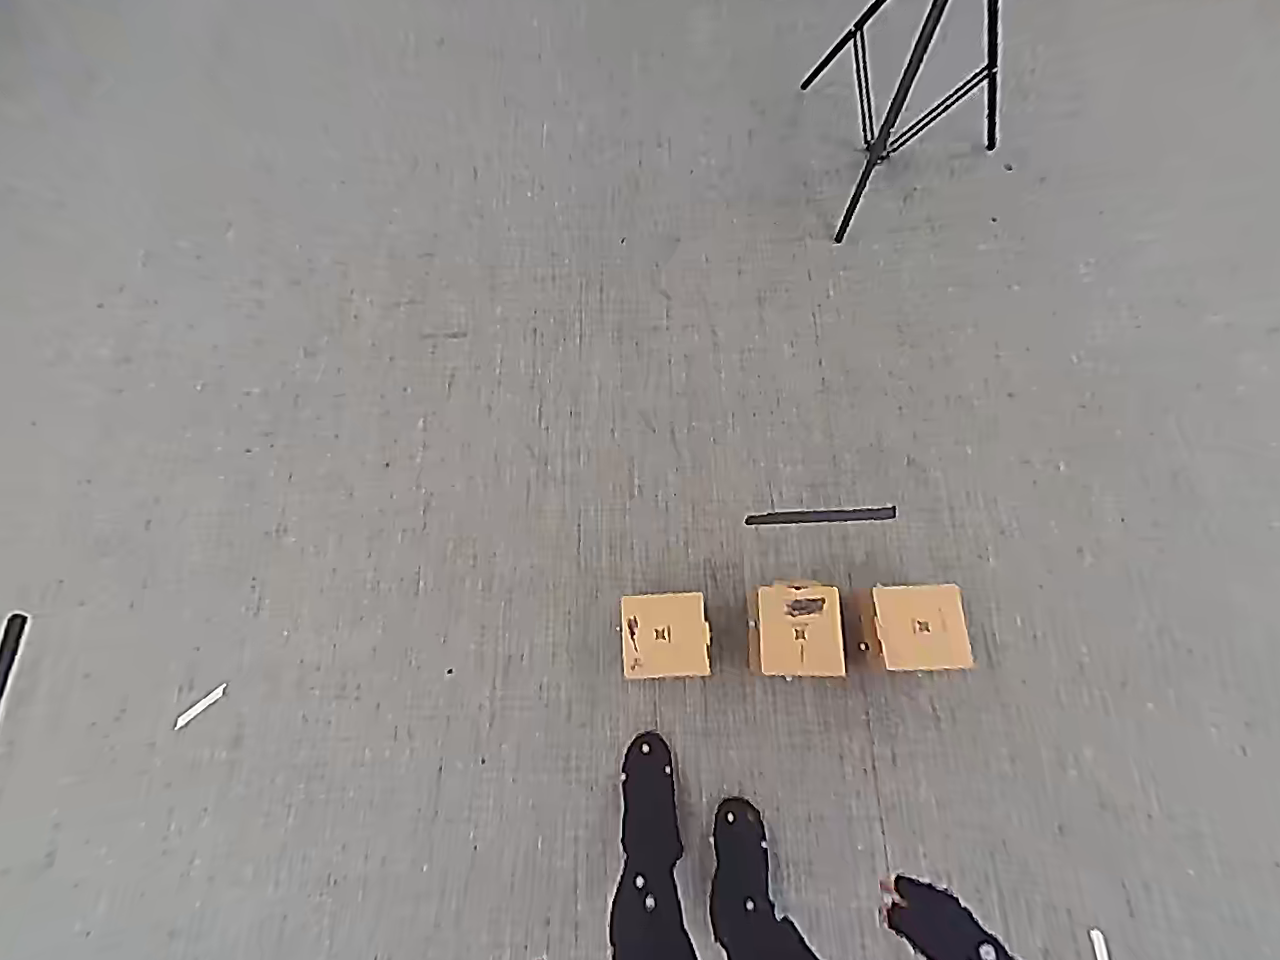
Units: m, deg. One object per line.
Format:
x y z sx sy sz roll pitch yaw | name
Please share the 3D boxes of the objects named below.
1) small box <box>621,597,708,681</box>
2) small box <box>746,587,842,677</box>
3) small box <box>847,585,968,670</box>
0.051 0.346 1.184 0.179 0.176 0.168 -3 73 2 | small box
0.324 0.330 1.173 0.168 0.176 0.179 0 74 3 | small box
0.562 0.319 1.166 0.179 0.176 0.168 -3 74 1 | small box
